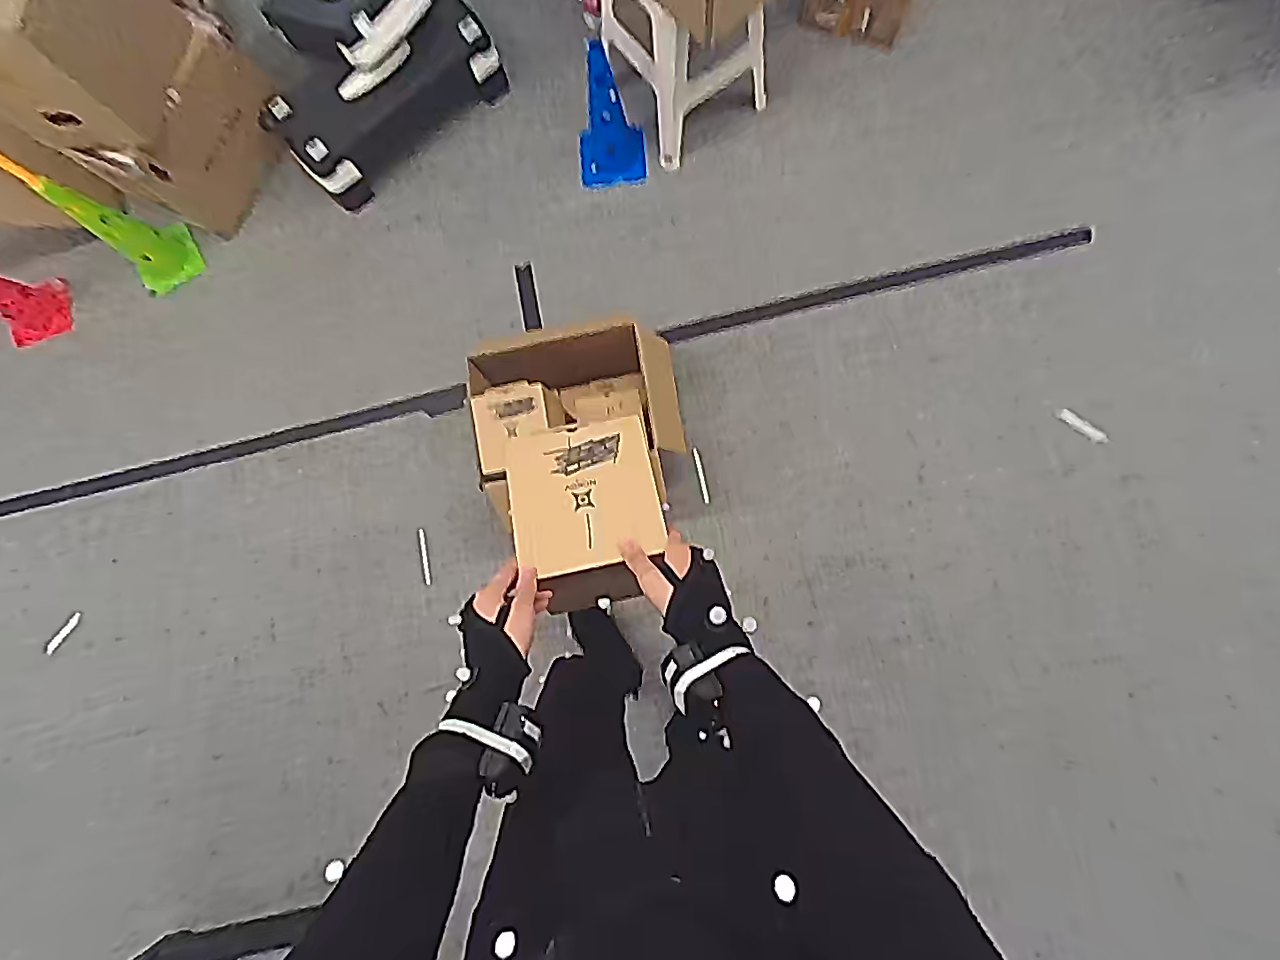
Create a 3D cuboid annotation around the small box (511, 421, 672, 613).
[{"bbox_3d":[-0.059,0.053,0.688,0.168,0.176,0.179,-11,64,-3],"label":"small box"}]
